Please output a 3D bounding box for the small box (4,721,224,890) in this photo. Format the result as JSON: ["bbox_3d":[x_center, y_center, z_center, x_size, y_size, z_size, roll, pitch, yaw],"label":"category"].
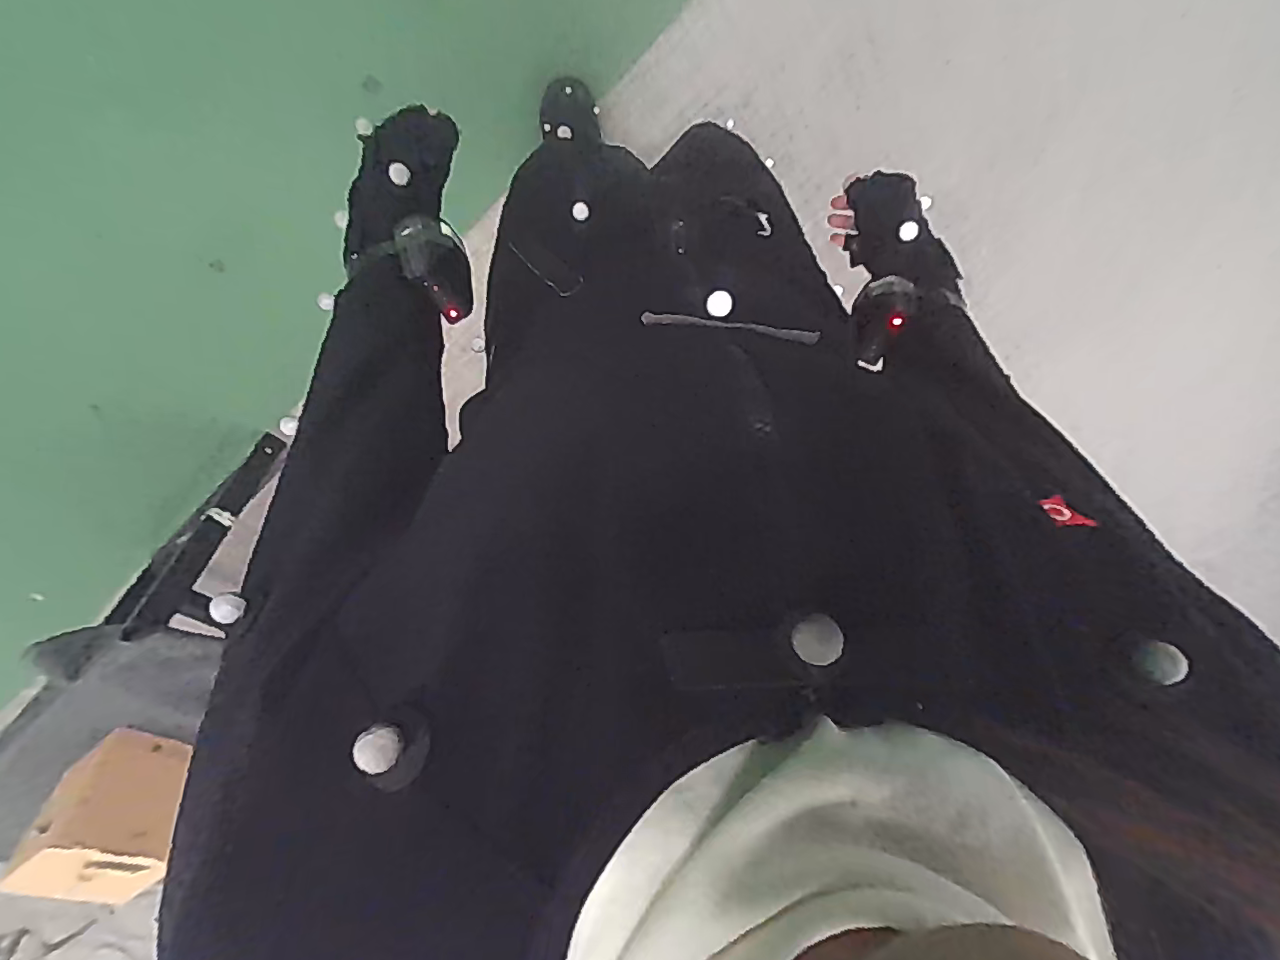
[{"bbox_3d":[-0.809,0.512,0.857,0.179,0.176,0.168,-35,126,17],"label":"small box"}]
